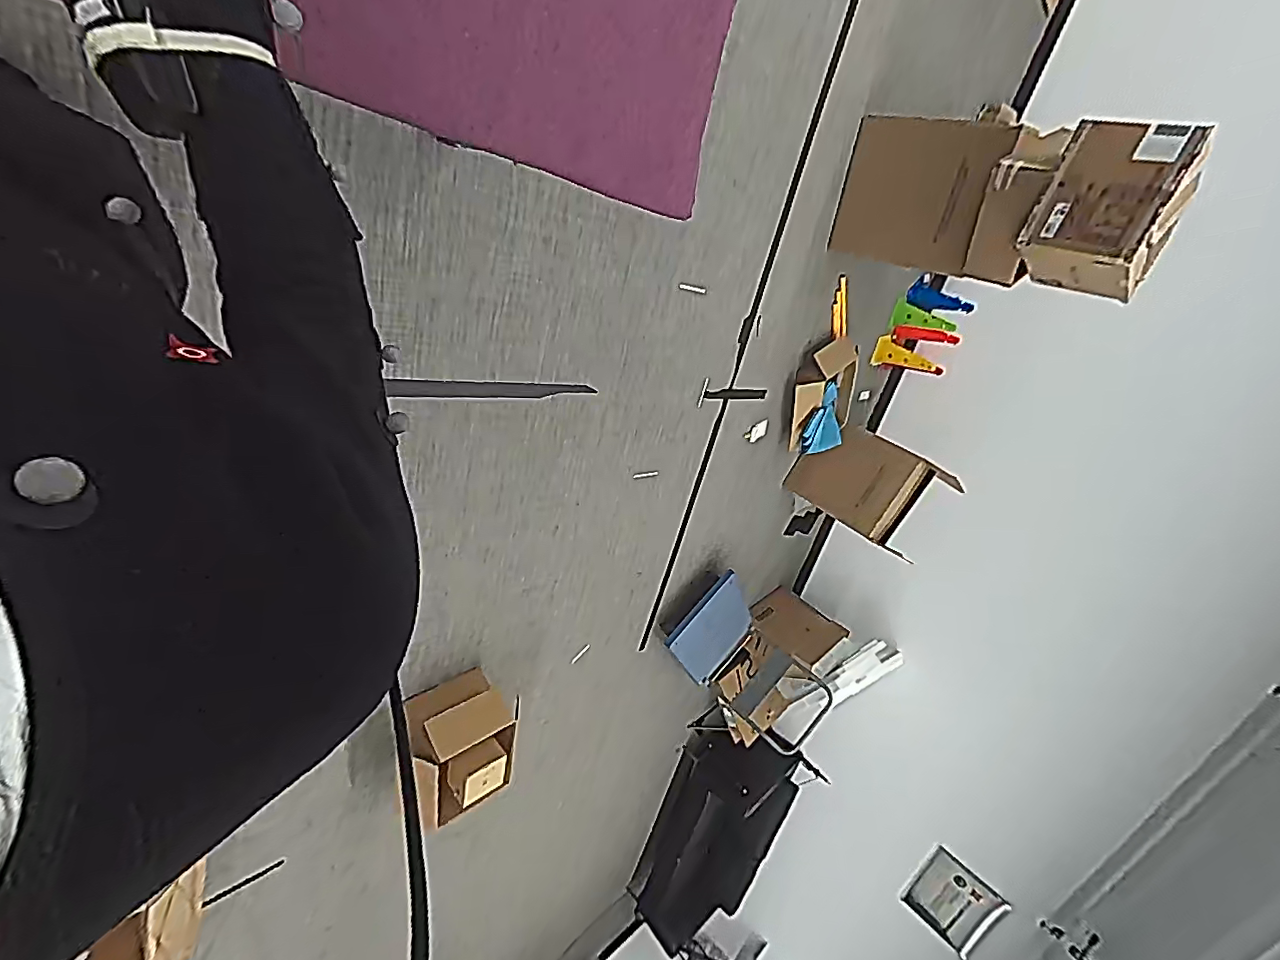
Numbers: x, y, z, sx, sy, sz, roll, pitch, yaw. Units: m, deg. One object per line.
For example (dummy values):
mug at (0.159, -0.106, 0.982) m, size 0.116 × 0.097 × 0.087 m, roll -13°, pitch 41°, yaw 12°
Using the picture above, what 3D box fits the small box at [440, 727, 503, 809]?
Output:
small box at (-0.640, 1.079, 2.036) m, size 0.168 × 0.176 × 0.179 m, roll -13°, pitch 126°, yaw -44°
